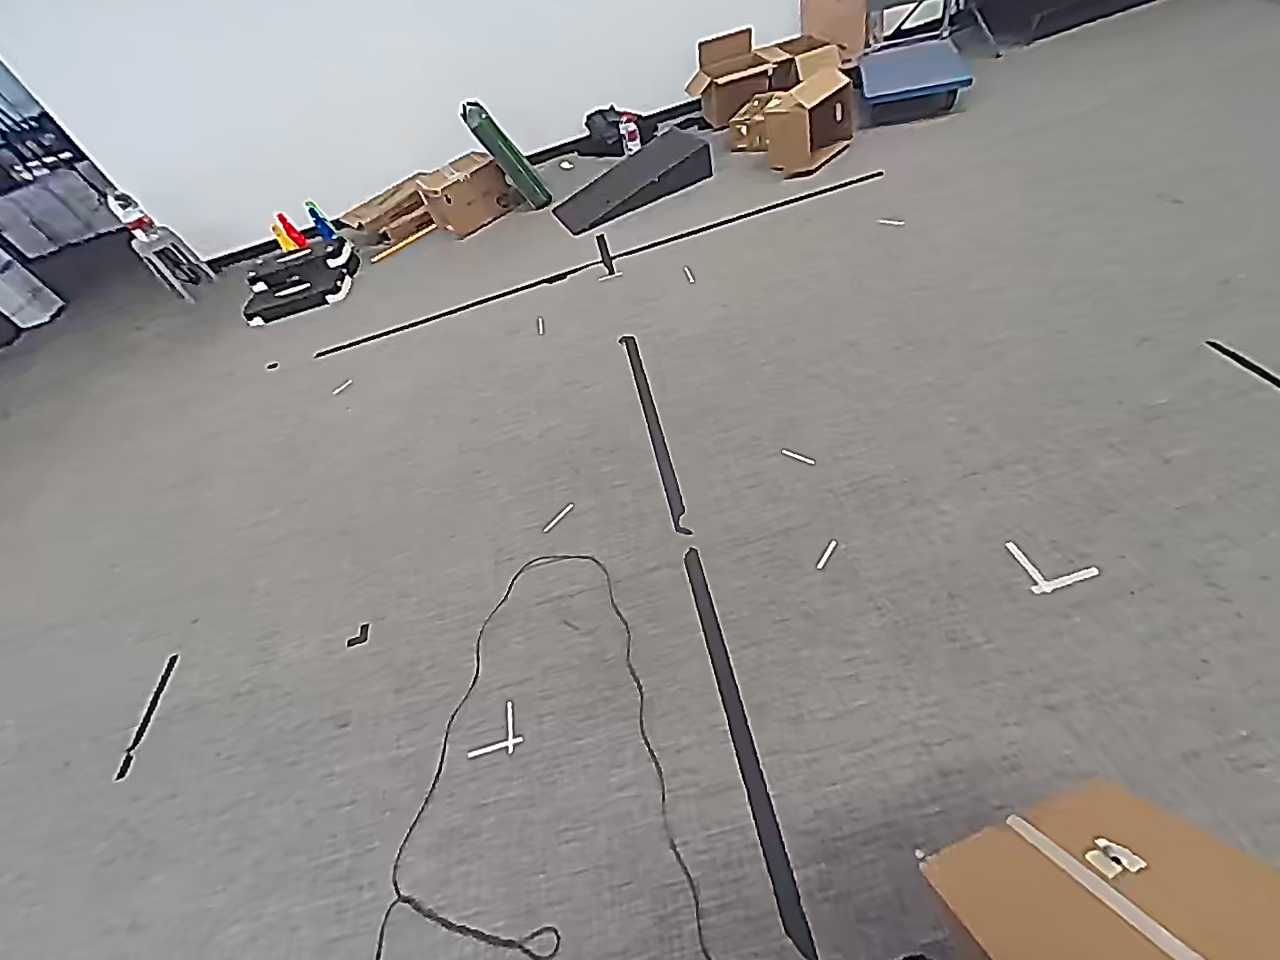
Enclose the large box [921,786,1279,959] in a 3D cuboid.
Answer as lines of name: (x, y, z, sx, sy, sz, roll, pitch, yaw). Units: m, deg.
large box: (0.617, 0.637, 0.598, 0.320, 0.408, 0.320, -23, 84, -2)
